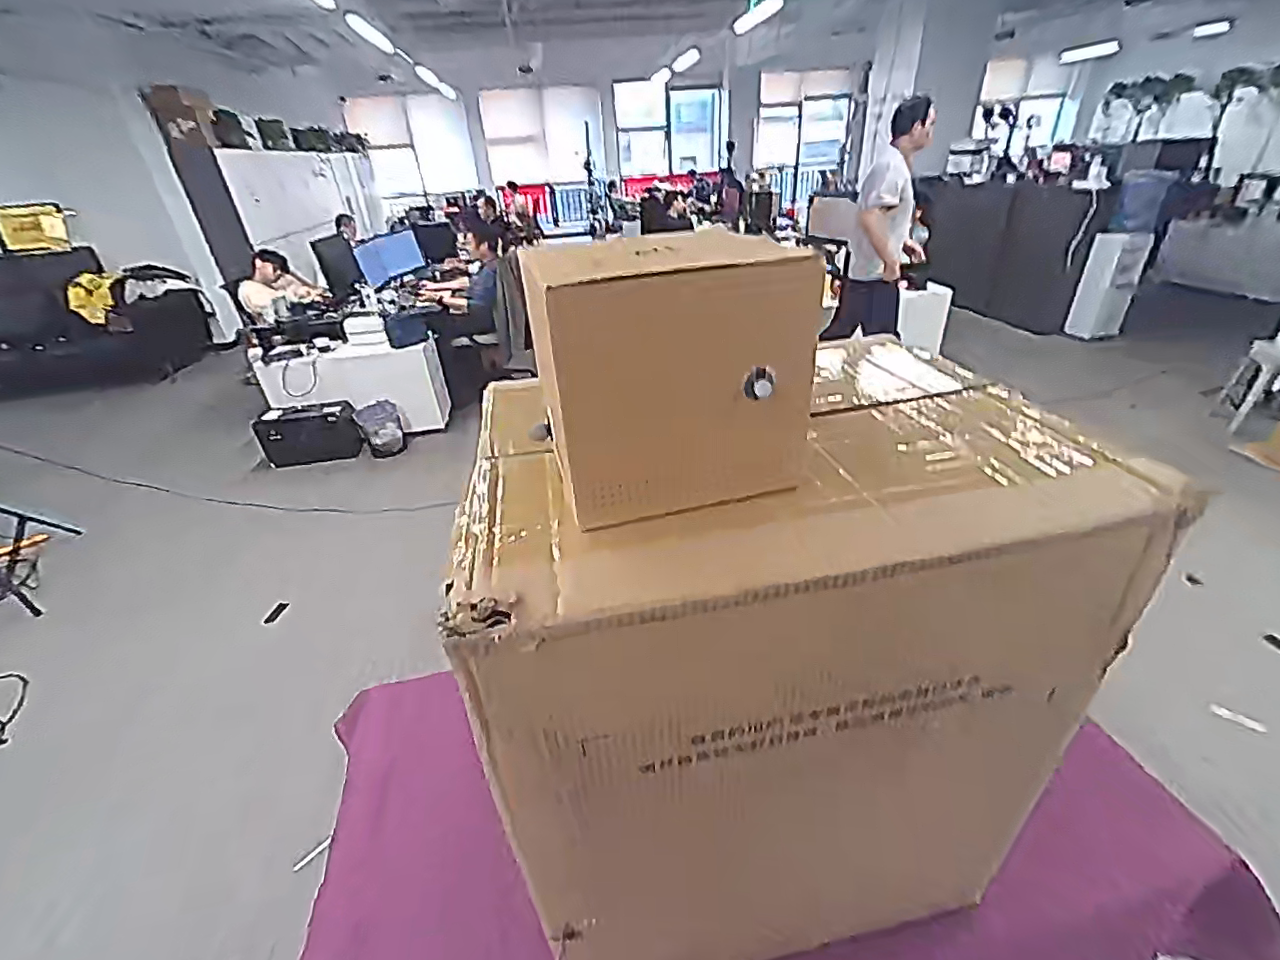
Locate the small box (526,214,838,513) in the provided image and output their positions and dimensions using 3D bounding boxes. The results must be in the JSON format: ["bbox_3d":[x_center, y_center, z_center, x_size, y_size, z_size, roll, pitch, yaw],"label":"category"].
[{"bbox_3d":[0.020,-0.097,0.412,0.179,0.176,0.168,-12,31,-12],"label":"small box"}]
